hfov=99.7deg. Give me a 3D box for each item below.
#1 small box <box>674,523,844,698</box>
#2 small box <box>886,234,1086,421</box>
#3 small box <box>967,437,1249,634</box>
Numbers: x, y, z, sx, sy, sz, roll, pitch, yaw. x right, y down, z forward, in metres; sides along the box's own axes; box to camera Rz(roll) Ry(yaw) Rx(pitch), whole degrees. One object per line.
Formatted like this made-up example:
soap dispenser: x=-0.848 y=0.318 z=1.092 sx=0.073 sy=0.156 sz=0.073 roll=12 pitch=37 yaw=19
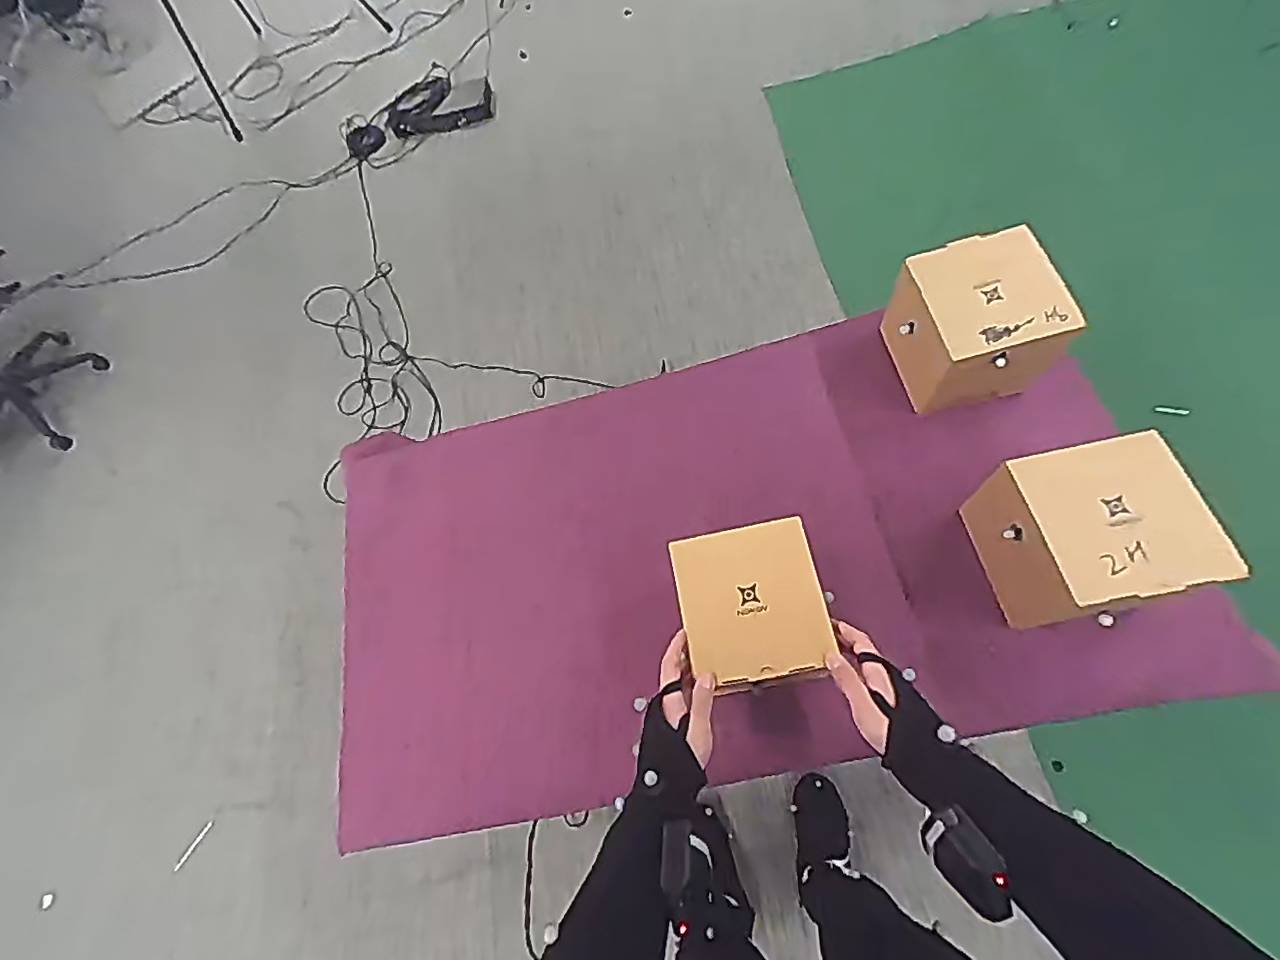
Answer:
small box: x=0.145 y=0.176 z=0.700 sx=0.168 sy=0.176 sz=0.179 roll=-12 pitch=65 yaw=6
small box: x=0.481 y=-0.213 z=0.789 sx=0.168 sy=0.176 sz=0.179 roll=-14 pitch=67 yaw=8
small box: x=0.534 y=0.076 z=0.657 sx=0.168 sy=0.176 sz=0.179 roll=-12 pitch=64 yaw=7
